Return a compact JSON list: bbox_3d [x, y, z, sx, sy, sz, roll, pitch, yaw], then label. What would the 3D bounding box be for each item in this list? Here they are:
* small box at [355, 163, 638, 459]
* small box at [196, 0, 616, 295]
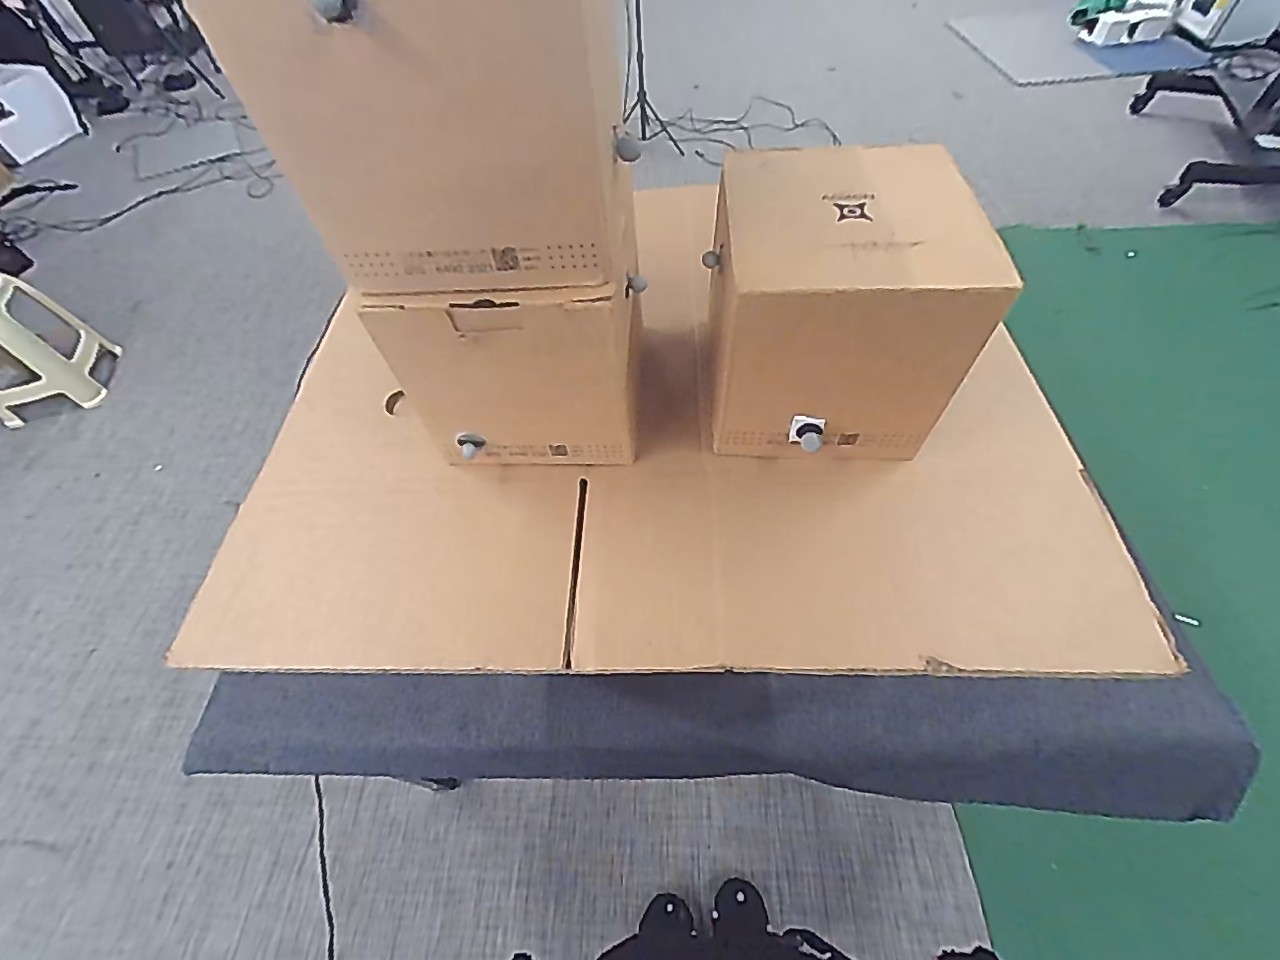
[{"bbox_3d":[-0.091,-0.130,0.448,0.168,0.176,0.179,0,55,5],"label":"small box"},{"bbox_3d":[-0.106,-0.233,0.321,0.168,0.176,0.179,-1,55,4],"label":"small box"}]
